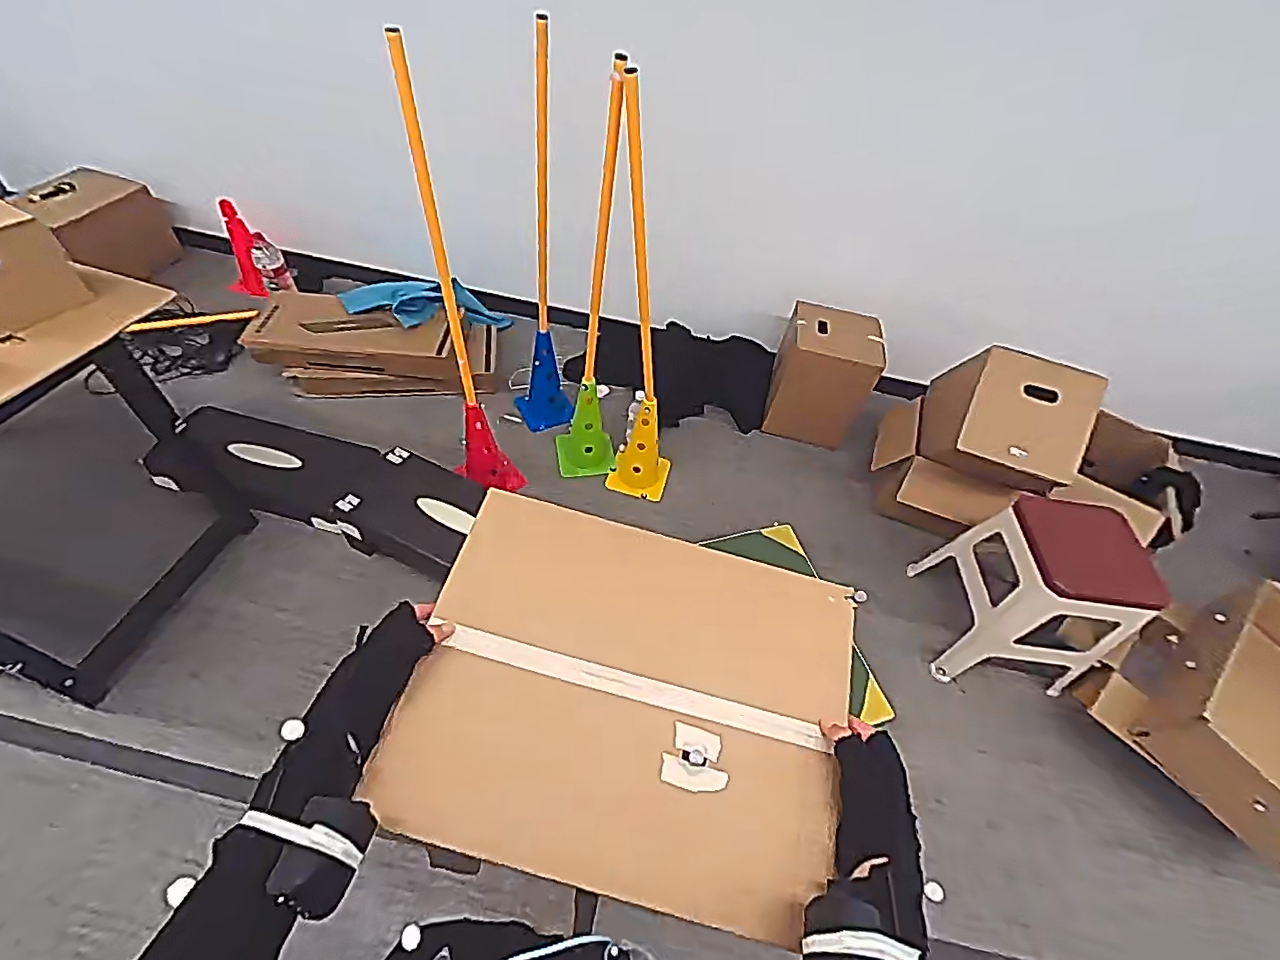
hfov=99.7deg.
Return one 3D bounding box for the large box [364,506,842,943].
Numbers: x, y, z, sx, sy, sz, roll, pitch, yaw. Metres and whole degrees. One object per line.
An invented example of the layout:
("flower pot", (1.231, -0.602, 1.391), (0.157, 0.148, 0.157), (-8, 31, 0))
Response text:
("large box", (-0.024, 0.275, 0.643), (0.408, 0.320, 0.320), (15, 61, 1))
